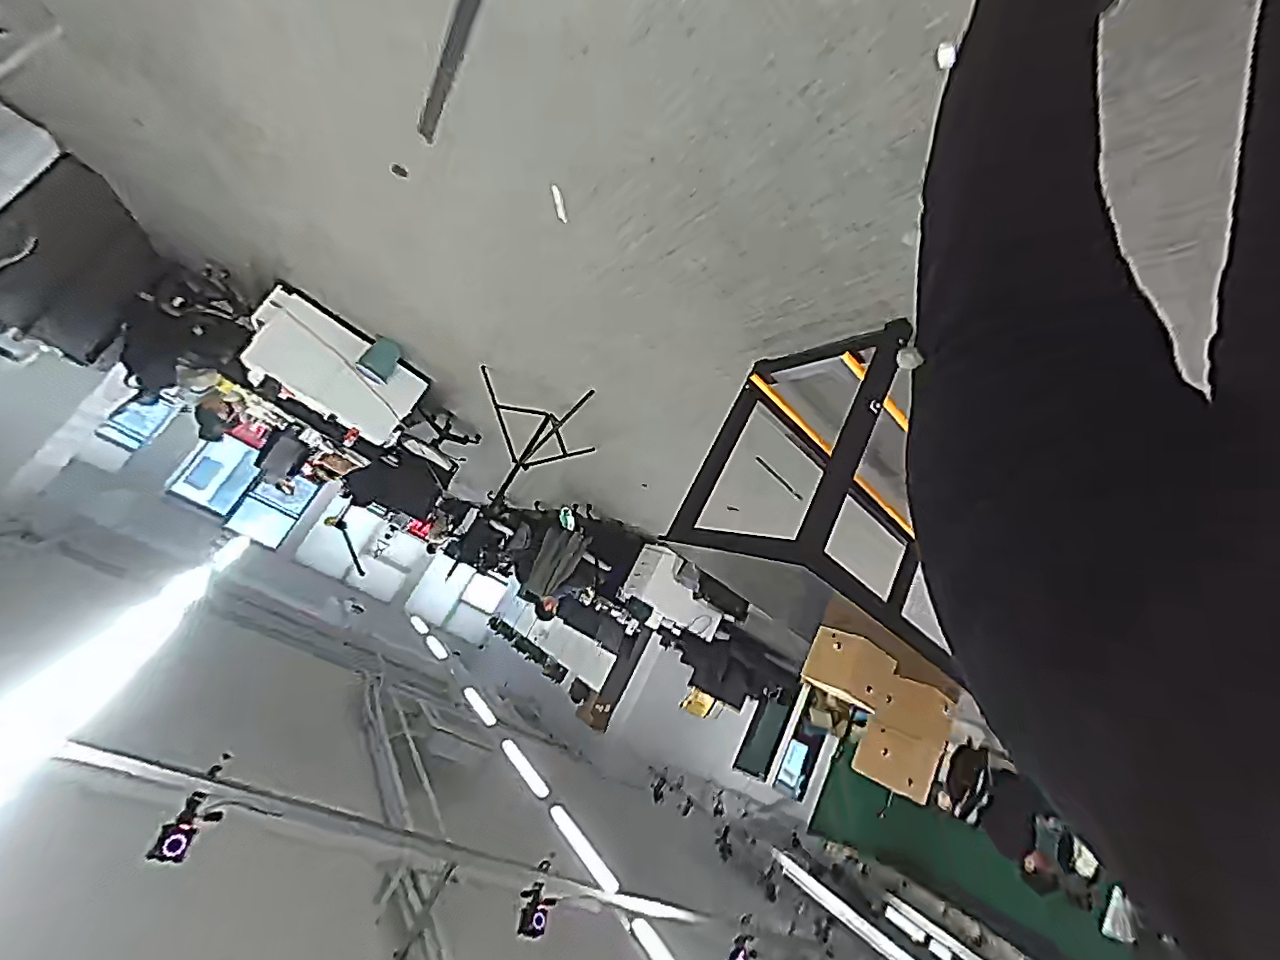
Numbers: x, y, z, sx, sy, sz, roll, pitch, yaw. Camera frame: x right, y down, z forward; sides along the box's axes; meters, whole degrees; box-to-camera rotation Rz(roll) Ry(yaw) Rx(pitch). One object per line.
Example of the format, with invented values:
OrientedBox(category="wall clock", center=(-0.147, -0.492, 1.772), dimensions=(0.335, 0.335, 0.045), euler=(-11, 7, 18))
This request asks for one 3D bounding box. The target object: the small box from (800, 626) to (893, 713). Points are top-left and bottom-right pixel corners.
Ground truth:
OrientedBox(category="small box", center=(0.623, 0.563, 1.621), dimensions=(0.179, 0.176, 0.168), euler=(37, 162, -25))

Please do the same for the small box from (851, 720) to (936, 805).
OrientedBox(category="small box", center=(0.816, 0.899, 1.735), dimensions=(0.179, 0.176, 0.168), euler=(37, 163, -29))

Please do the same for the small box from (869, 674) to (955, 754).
OrientedBox(category="small box", center=(0.892, 0.757, 1.772), dimensions=(0.168, 0.176, 0.179), euler=(37, 162, -29))
